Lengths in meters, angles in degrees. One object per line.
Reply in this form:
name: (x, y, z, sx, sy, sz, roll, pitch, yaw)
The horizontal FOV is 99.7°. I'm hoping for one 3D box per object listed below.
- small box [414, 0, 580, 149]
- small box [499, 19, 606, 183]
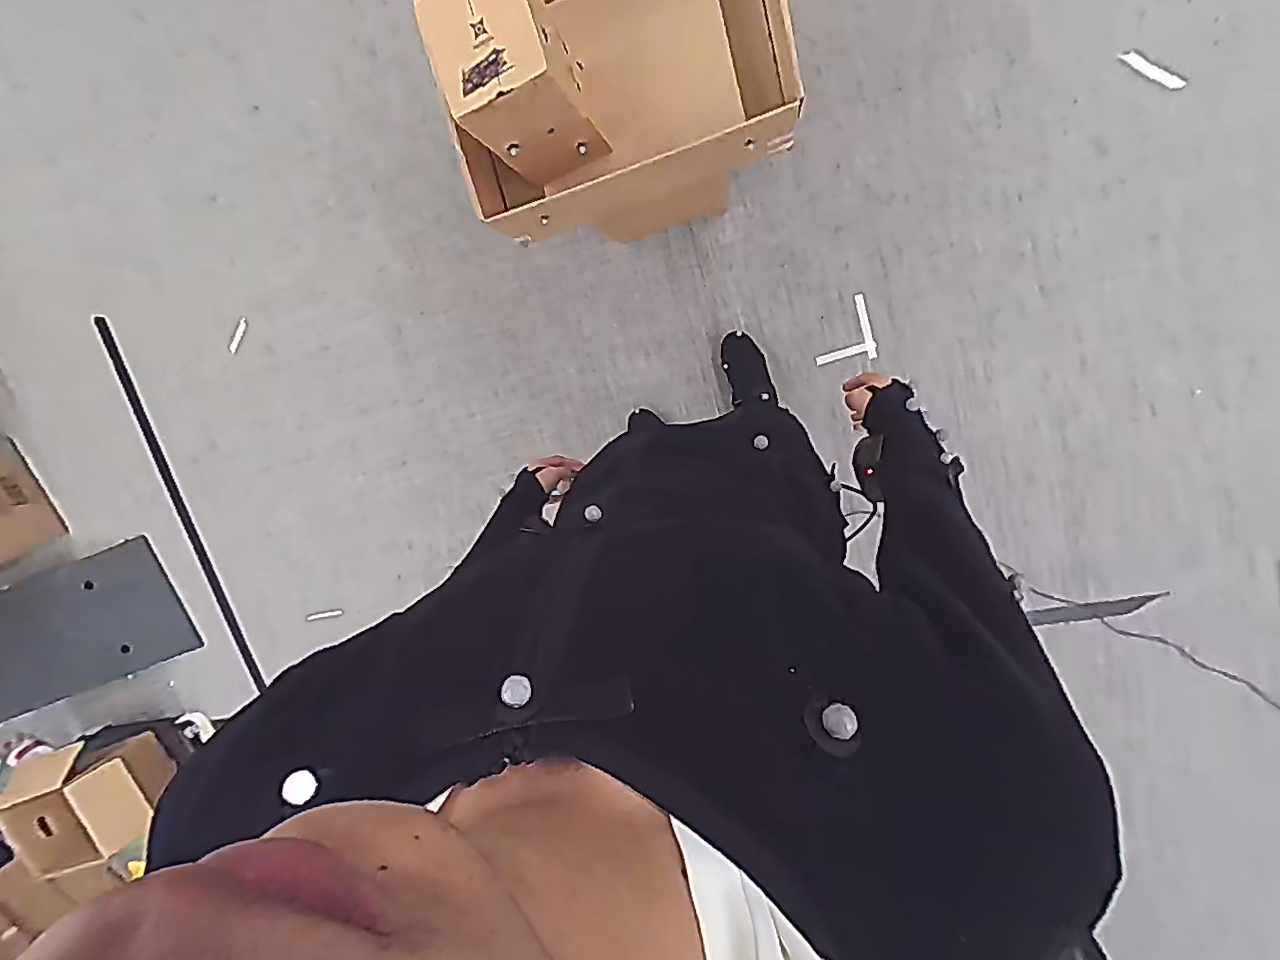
small box: (-0.213, -0.660, 0.856, 0.168, 0.176, 0.179, -16, 98, 15)
small box: (-0.175, -0.692, 1.012, 0.179, 0.176, 0.168, -17, 99, 16)
